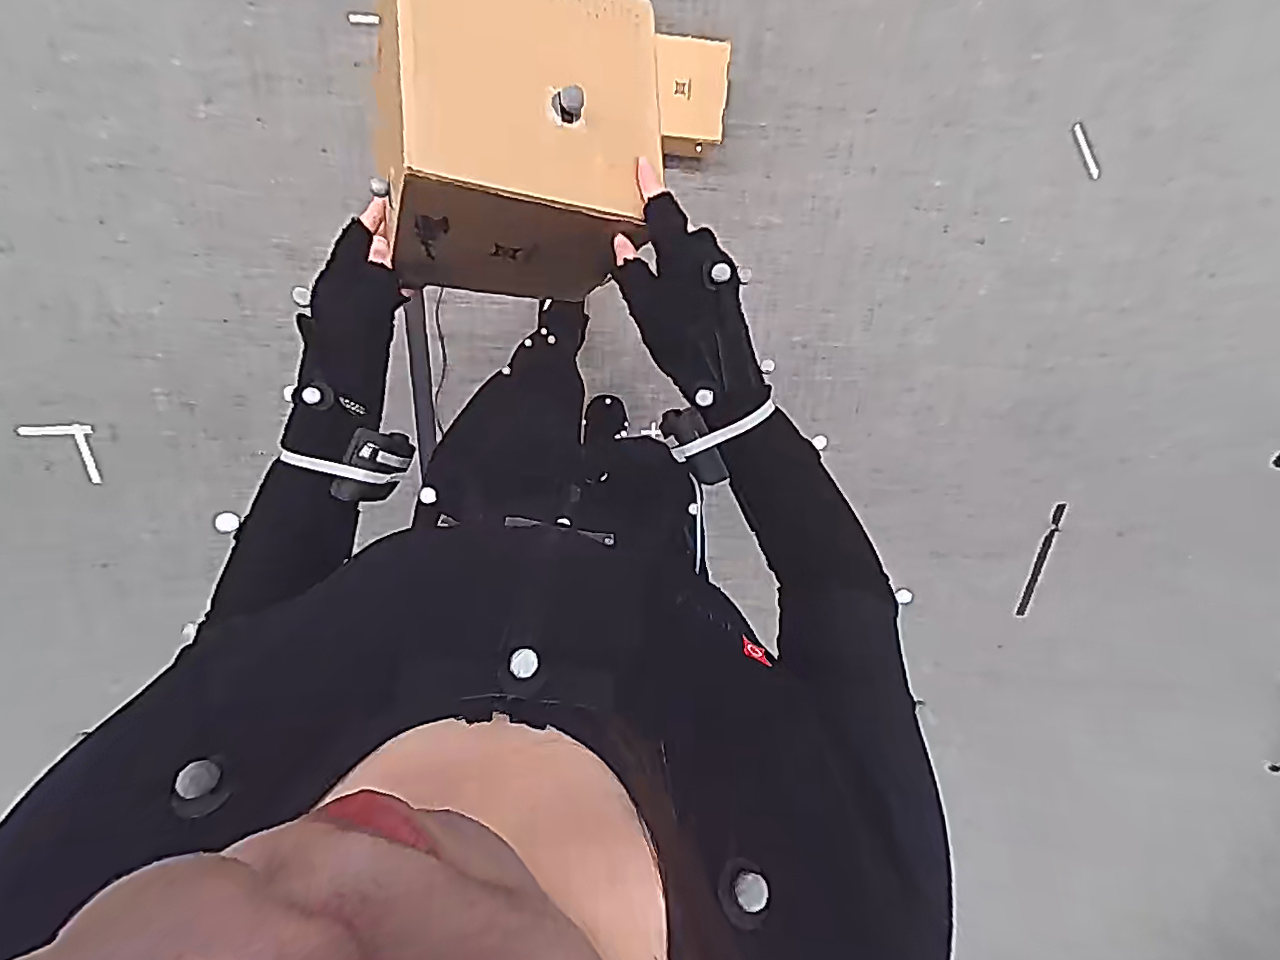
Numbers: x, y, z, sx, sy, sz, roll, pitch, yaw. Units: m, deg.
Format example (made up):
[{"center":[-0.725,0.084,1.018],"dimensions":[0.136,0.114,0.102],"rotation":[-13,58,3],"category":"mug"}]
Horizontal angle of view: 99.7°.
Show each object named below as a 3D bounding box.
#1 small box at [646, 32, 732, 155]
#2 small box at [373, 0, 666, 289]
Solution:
[{"center":[0.079,-0.792,1.126],"dimensions":[0.179,0.176,0.168],"rotation":[2,111,-6],"category":"small box"},{"center":[-0.099,-0.266,0.417],"dimensions":[0.179,0.168,0.176],"rotation":[-3,88,-29],"category":"small box"}]
